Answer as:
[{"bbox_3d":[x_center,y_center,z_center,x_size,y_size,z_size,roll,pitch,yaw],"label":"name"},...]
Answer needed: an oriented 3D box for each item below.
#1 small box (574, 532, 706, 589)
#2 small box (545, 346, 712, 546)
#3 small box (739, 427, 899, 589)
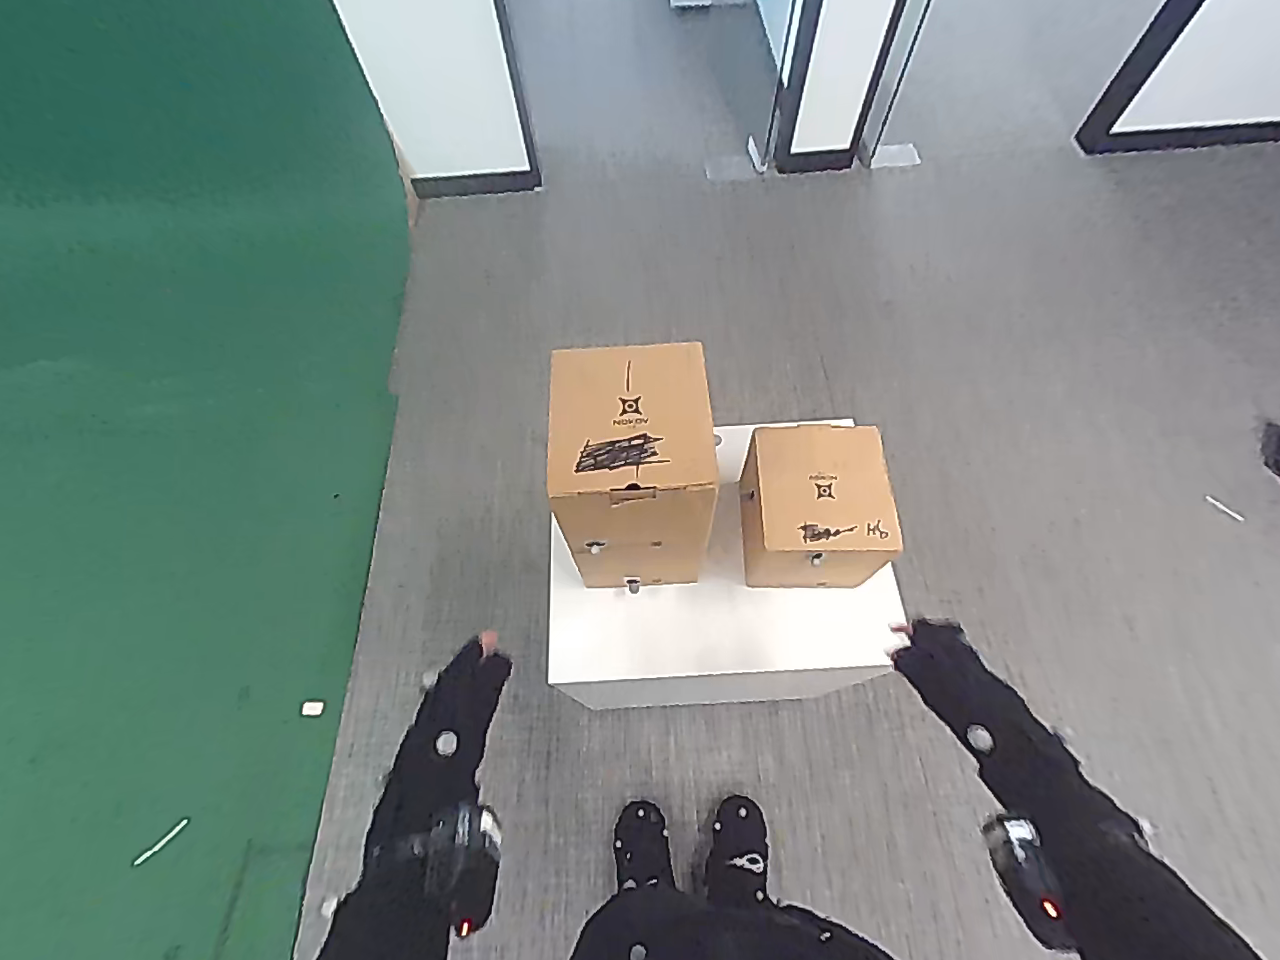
[{"bbox_3d":[-0.002,0.046,0.771,0.168,0.176,0.179,-5,65,1],"label":"small box"},{"bbox_3d":[-0.009,-0.029,0.624,0.168,0.176,0.179,-3,63,1],"label":"small box"},{"bbox_3d":[0.234,0.044,0.759,0.168,0.176,0.179,0,63,3],"label":"small box"}]
